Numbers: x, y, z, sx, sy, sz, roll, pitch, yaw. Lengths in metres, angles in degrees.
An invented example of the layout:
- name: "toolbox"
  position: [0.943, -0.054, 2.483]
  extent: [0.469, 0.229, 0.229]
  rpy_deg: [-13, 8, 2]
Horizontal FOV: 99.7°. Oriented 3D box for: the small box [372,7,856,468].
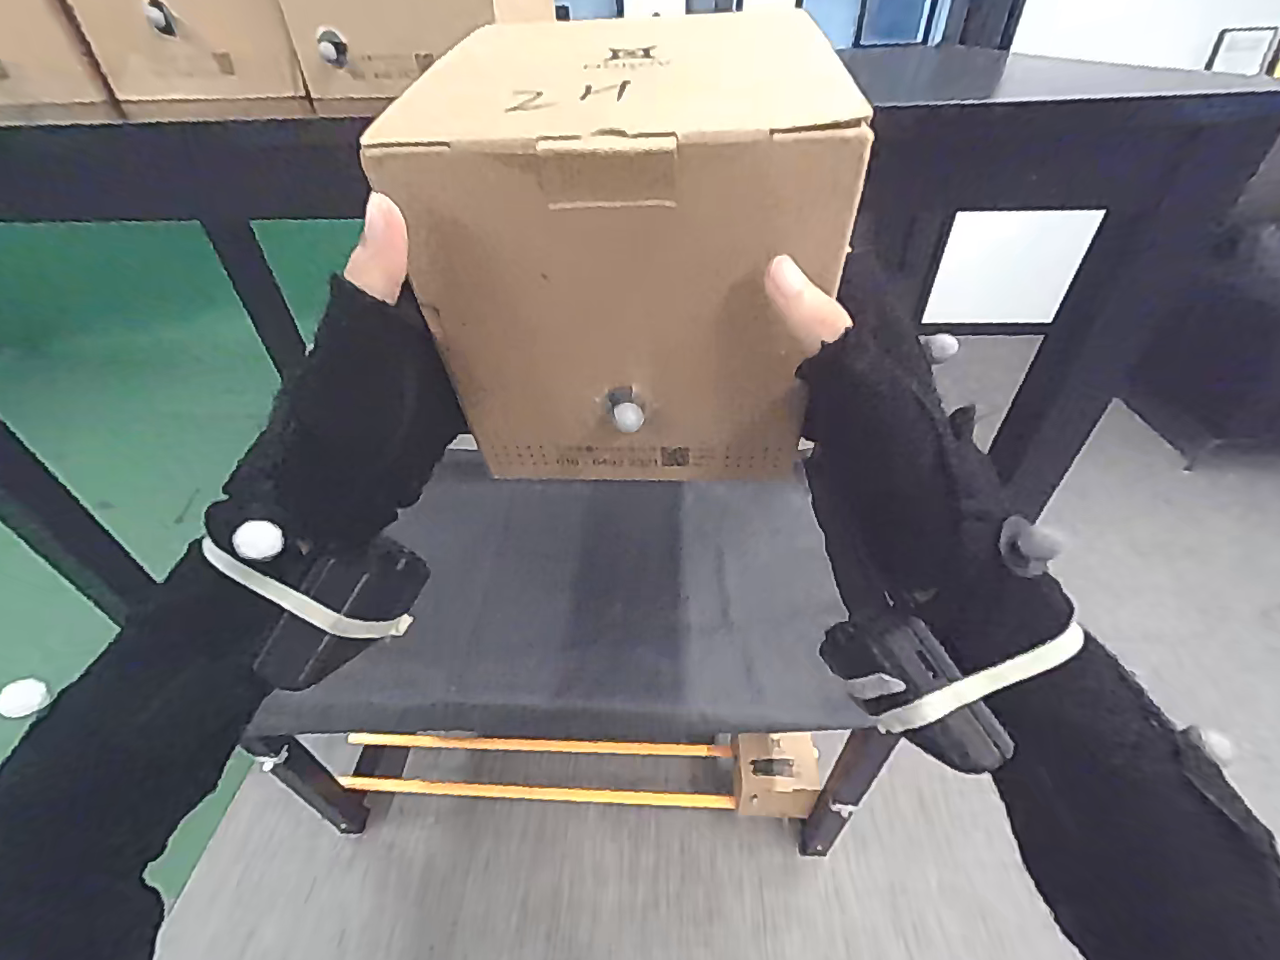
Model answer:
- name: "small box"
  position: [-0.002, -0.127, 0.291]
  extent: [0.168, 0.176, 0.179]
  rpy_deg: [0, 49, 5]
